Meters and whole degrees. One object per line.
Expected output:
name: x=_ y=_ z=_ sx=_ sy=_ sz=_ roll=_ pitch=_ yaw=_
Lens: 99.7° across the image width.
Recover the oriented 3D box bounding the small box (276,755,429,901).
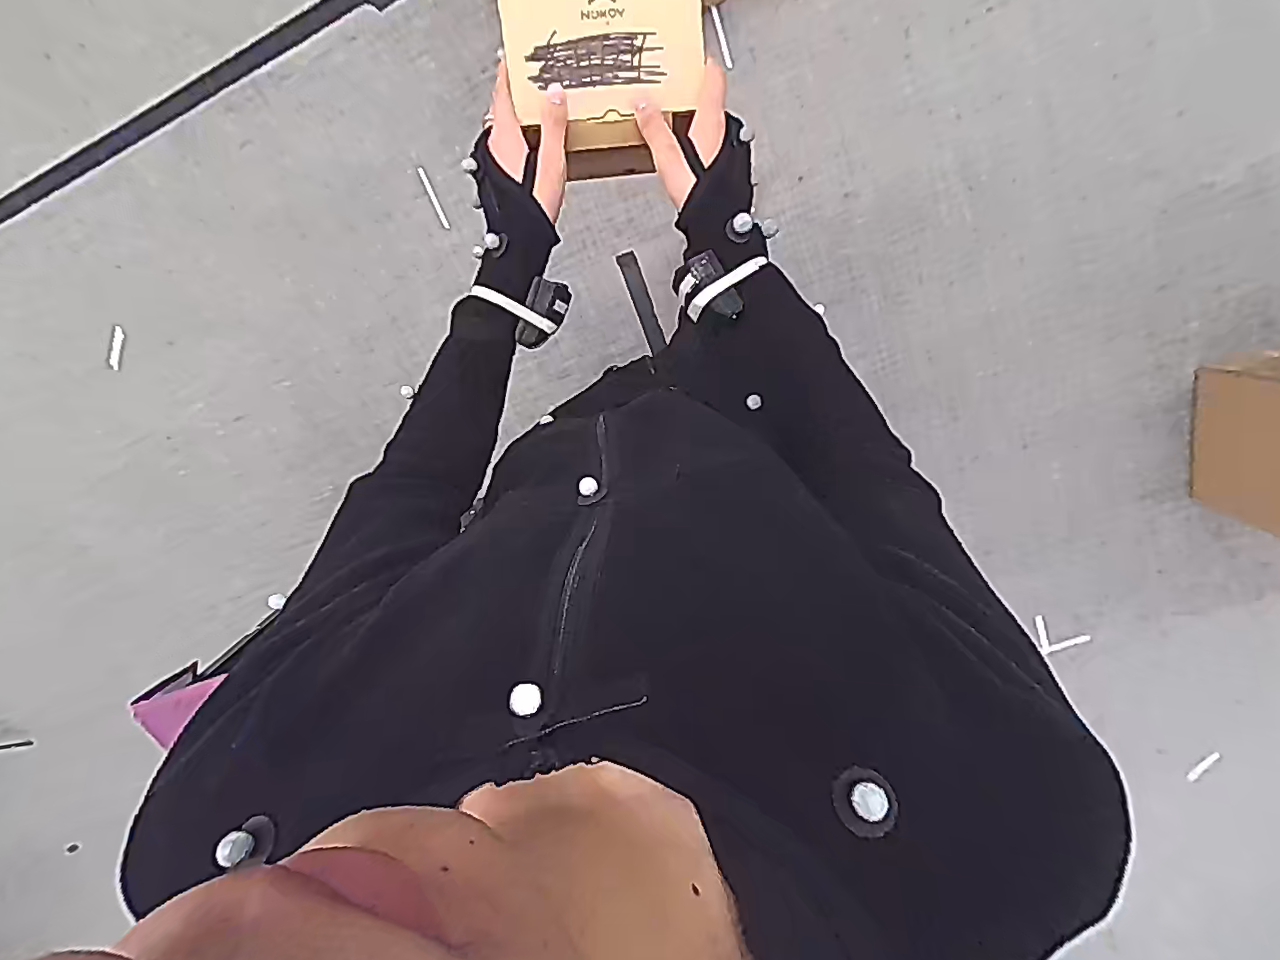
small box: x=-0.565 y=0.693 z=1.087 sx=0.179 sy=0.176 sz=0.168 roll=-19 pitch=109 yaw=10
